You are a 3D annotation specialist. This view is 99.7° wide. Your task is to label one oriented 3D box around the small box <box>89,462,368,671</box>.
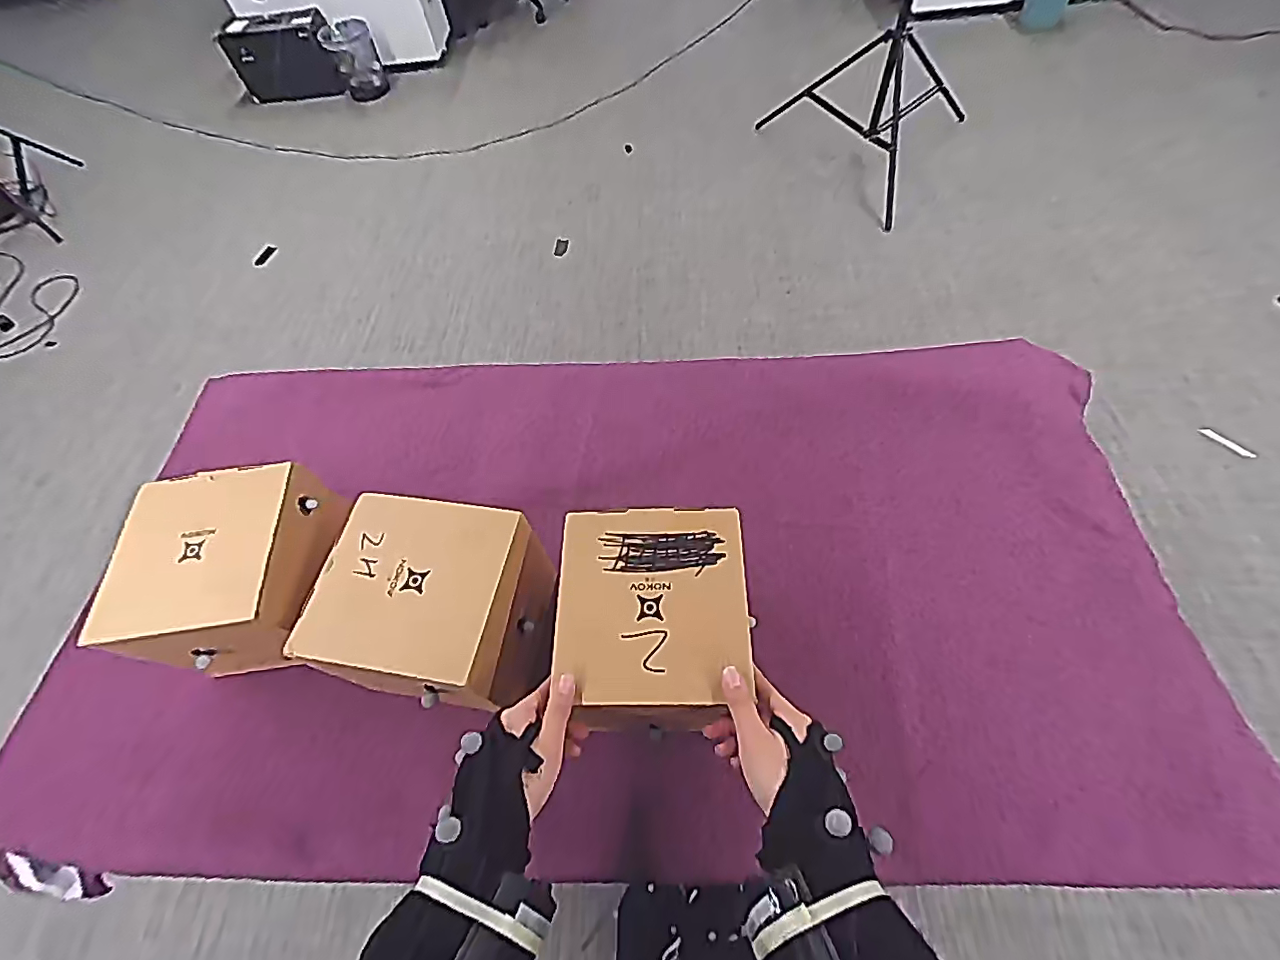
[{"bbox_3d":[-0.432,0.106,0.607,0.168,0.176,0.179,-9,59,0],"label":"small box"}]
